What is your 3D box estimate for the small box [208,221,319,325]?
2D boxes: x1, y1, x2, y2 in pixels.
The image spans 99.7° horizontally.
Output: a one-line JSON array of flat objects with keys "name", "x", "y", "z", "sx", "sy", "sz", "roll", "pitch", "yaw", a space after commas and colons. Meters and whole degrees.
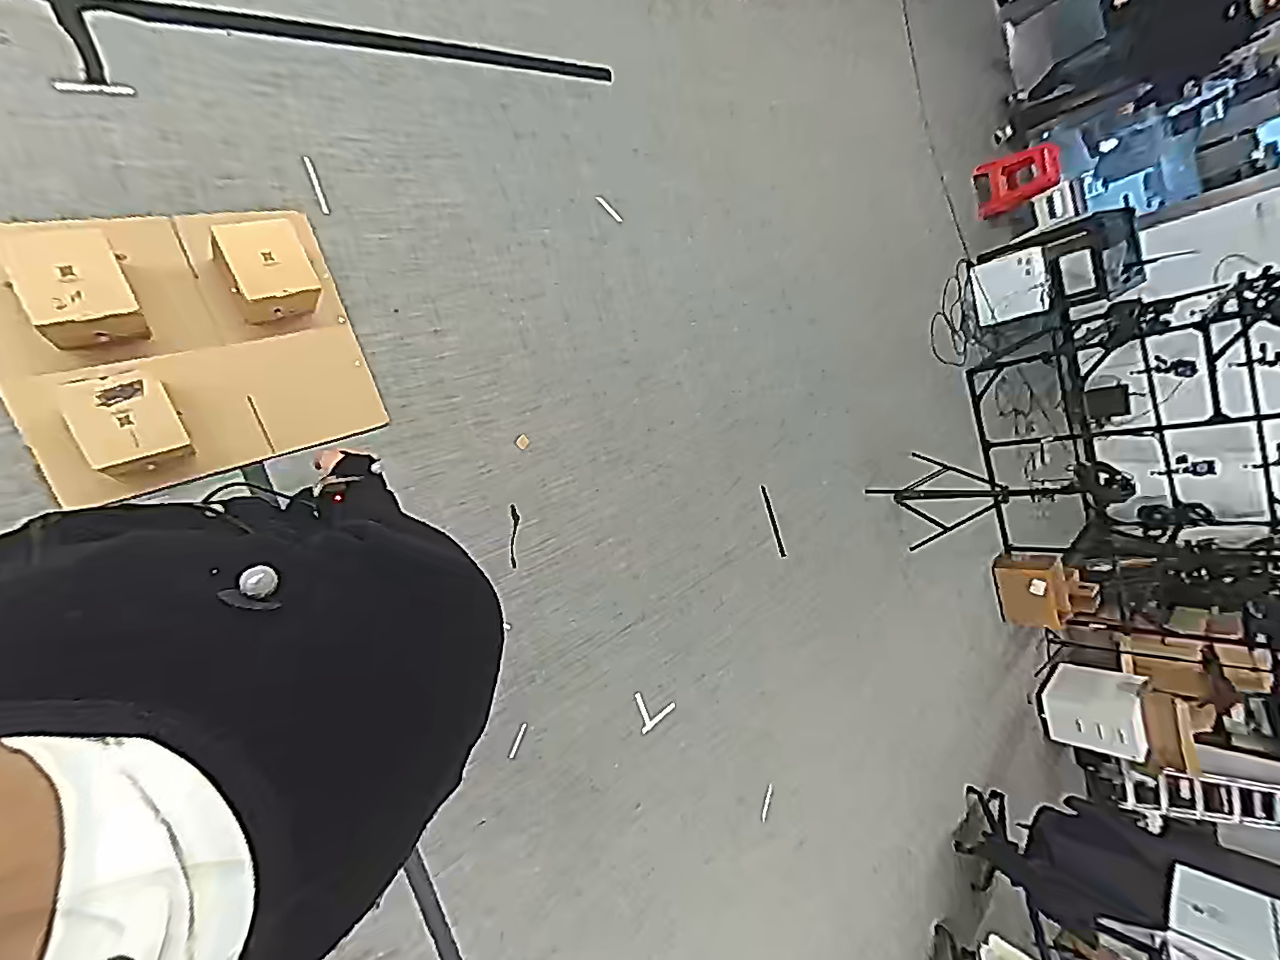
[{"name": "small box", "x": -0.926, "y": -0.504, "z": 1.328, "sx": 0.168, "sy": 0.176, "sz": 0.179, "roll": -30, "pitch": 104, "yaw": -35}]

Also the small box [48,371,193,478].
[{"name": "small box", "x": -1.097, "y": -0.114, "z": 1.158, "sx": 0.168, "sy": 0.176, "sz": 0.179, "roll": -27, "pitch": 103, "yaw": -34}]

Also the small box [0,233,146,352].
[{"name": "small box", "x": -1.175, "y": -0.386, "z": 1.123, "sx": 0.168, "sy": 0.176, "sz": 0.179, "roll": -26, "pitch": 102, "yaw": -34}]
